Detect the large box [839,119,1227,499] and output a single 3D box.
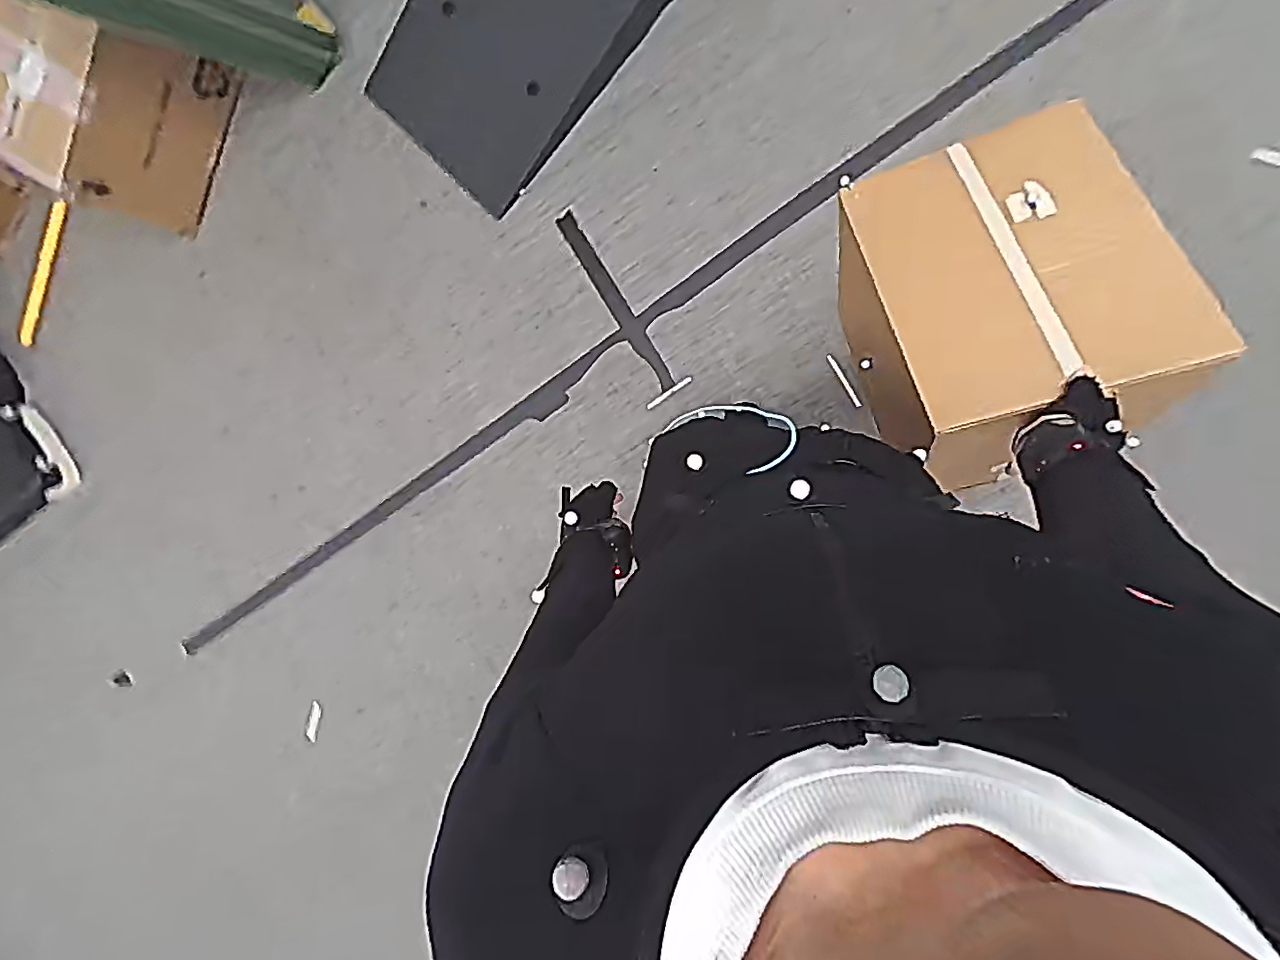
[{"bbox_3d":[0.522,-0.230,0.836,0.320,0.320,0.408,-15,68,13],"label":"large box"}]
